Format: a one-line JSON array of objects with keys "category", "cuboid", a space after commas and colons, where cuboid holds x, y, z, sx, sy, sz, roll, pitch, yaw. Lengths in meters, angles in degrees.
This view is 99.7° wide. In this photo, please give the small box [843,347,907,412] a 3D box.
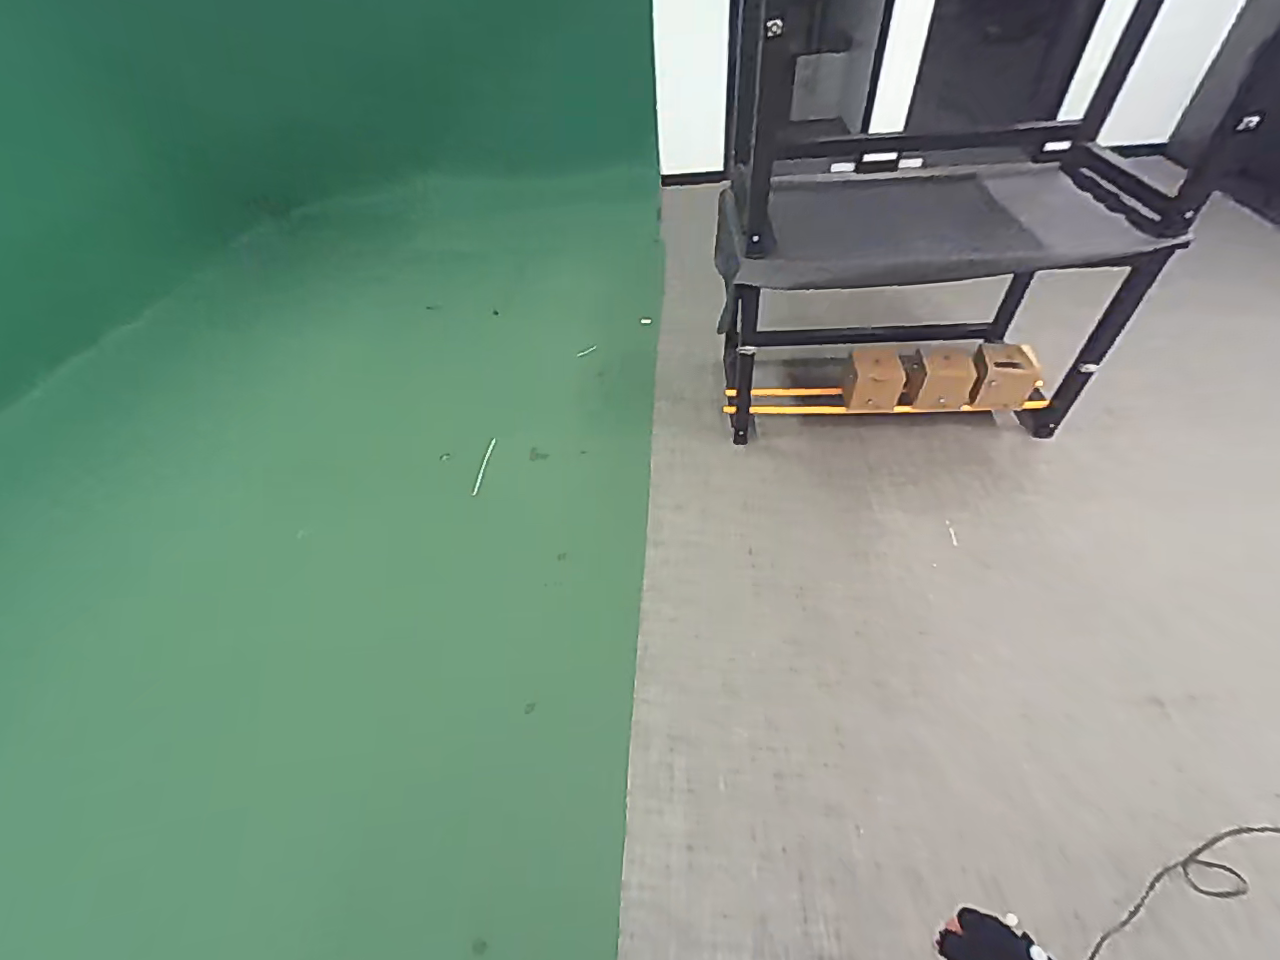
[{"category": "small box", "cuboid": [0.868, -0.374, 2.012, 0.168, 0.176, 0.179, 1, 50, 6]}]
